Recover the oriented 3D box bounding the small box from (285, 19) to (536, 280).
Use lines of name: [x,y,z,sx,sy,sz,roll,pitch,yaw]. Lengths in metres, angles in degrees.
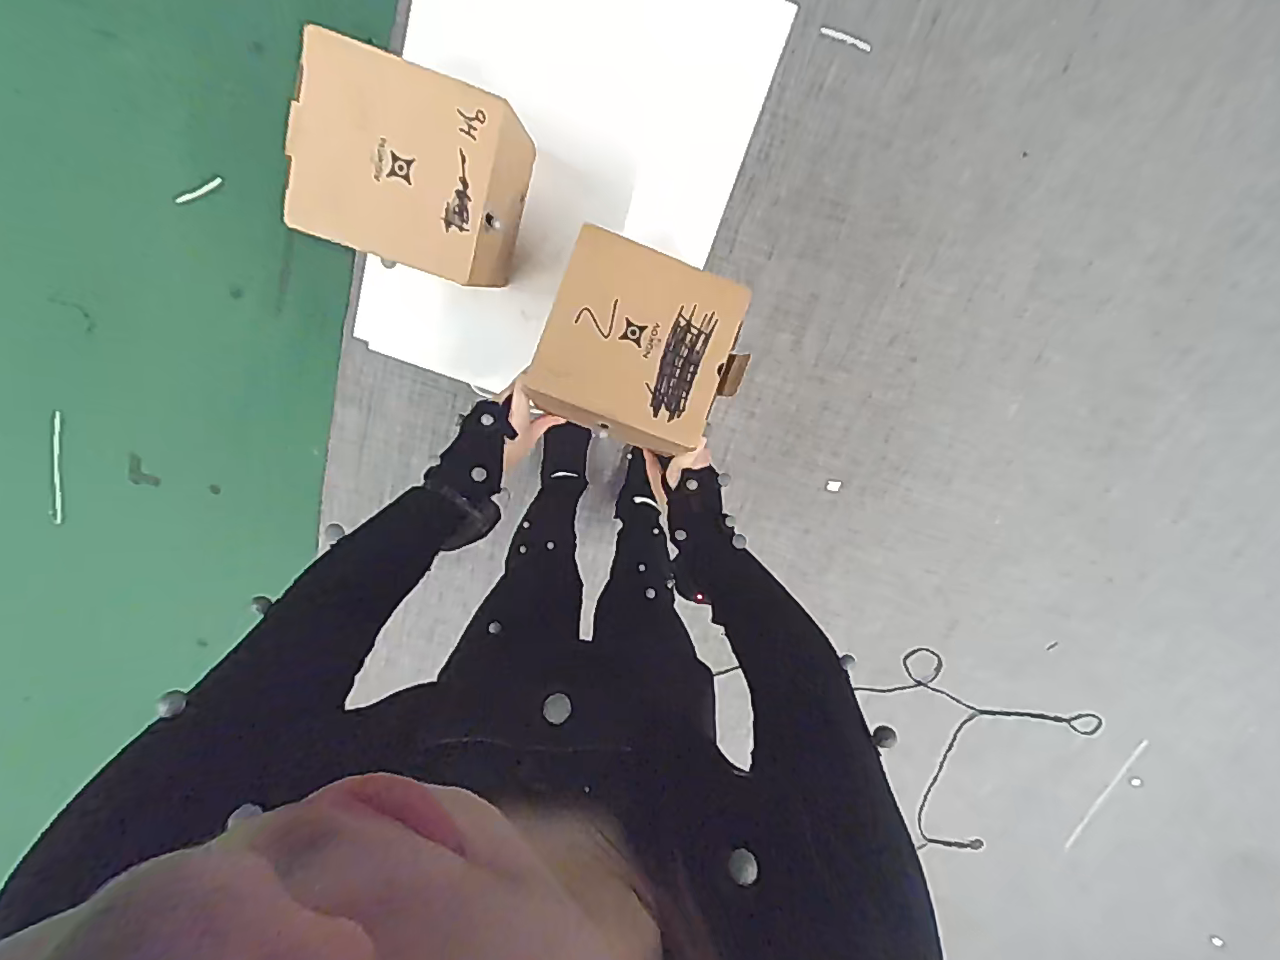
small box: [-0.223,-0.316,0.564,0.179,0.176,0.168,18,107,-7]
